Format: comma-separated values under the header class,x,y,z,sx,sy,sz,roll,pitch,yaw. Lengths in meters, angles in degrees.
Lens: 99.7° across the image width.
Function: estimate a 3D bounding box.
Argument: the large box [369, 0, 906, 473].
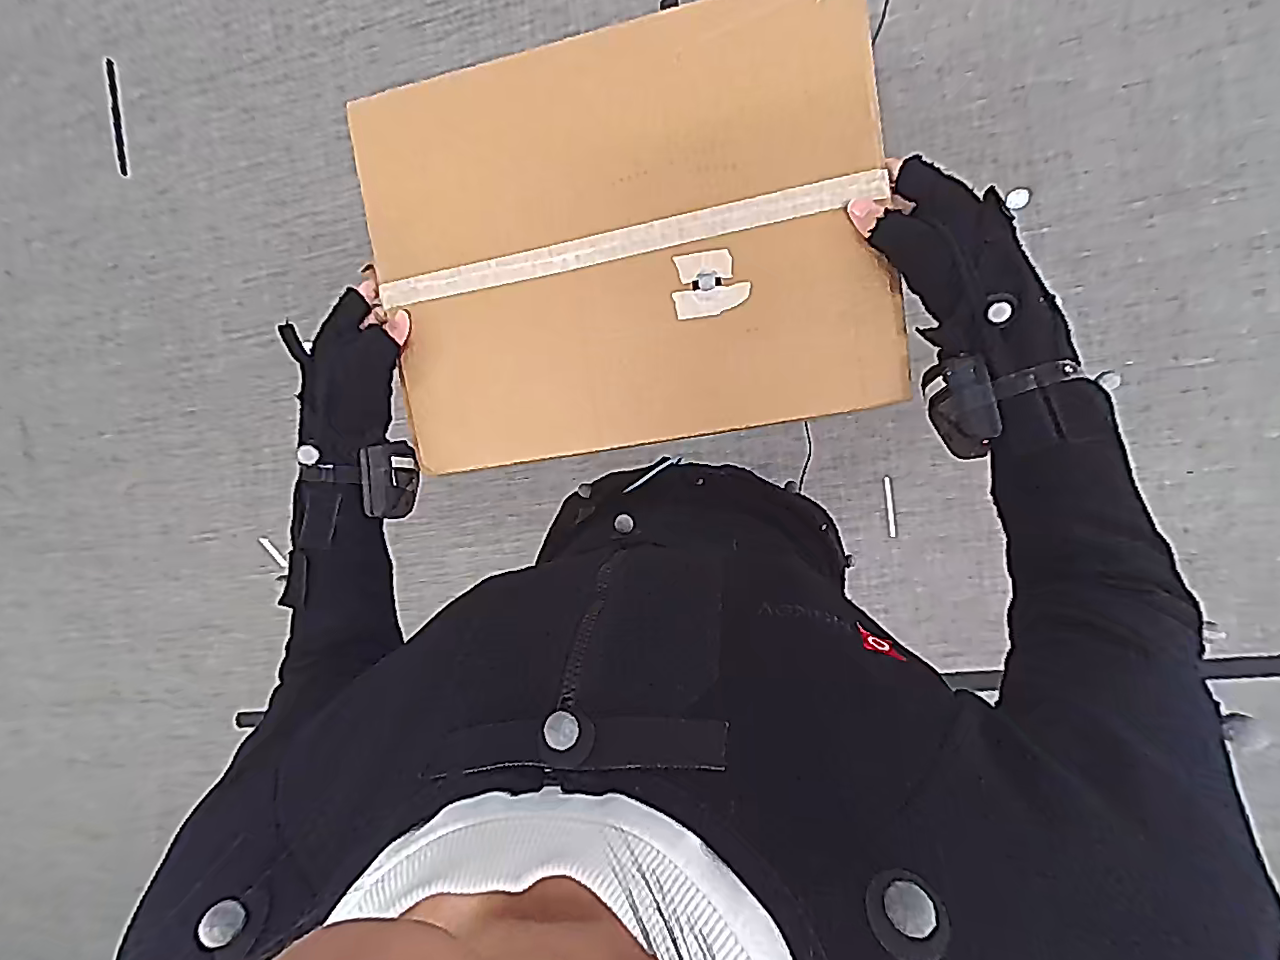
class,x,y,z,sx,sy,sz,roll,pitch,yaw
large box,0.008,-0.203,0.582,0.408,0.320,0.320,-9,96,9
